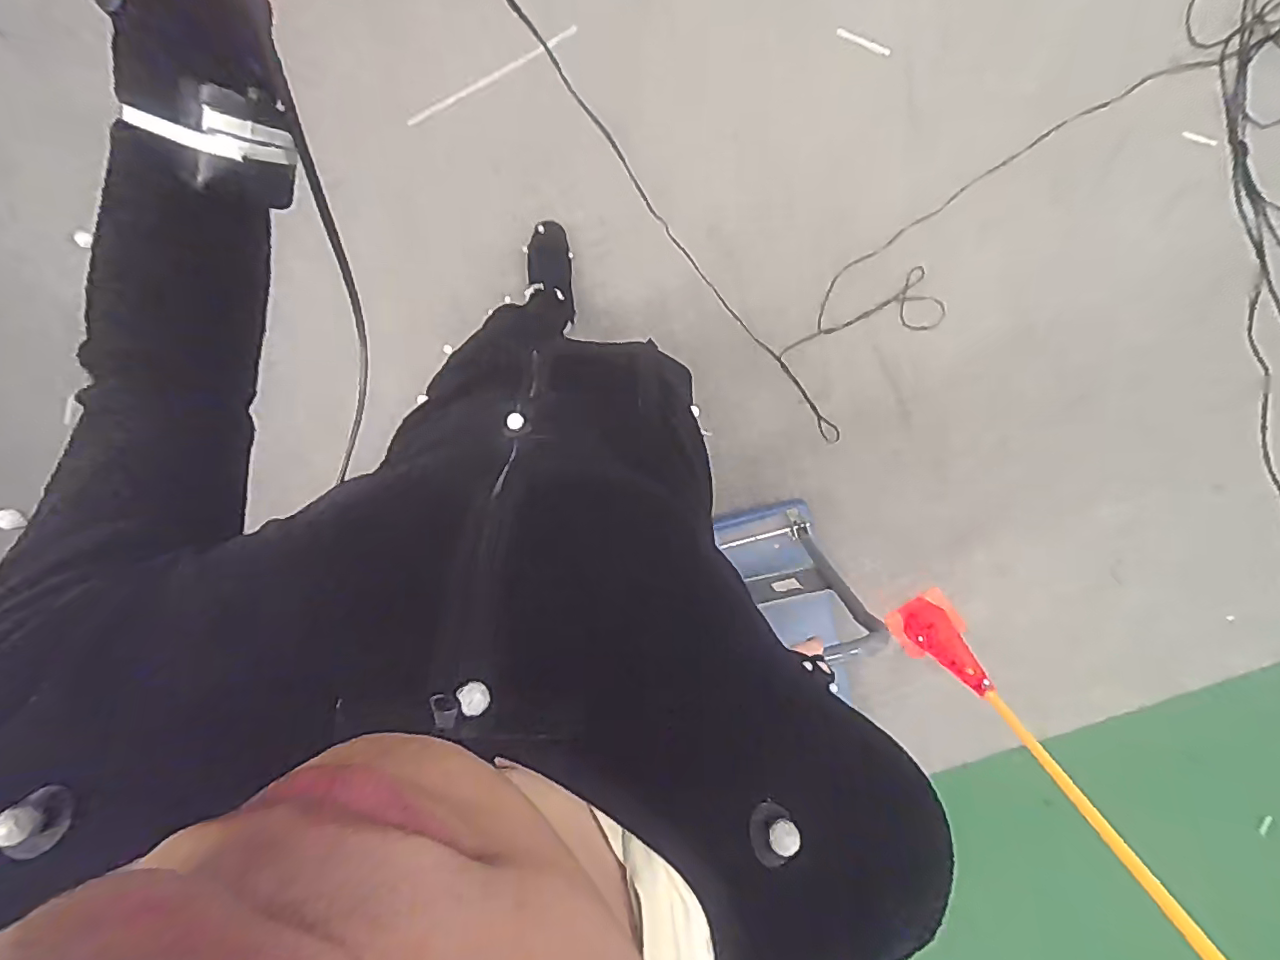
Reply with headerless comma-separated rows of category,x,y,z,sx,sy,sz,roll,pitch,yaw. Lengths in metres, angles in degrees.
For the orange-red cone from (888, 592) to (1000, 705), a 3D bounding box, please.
orange-red cone,0.919,0.518,1.570,0.199,0.360,0.198,-37,103,10
